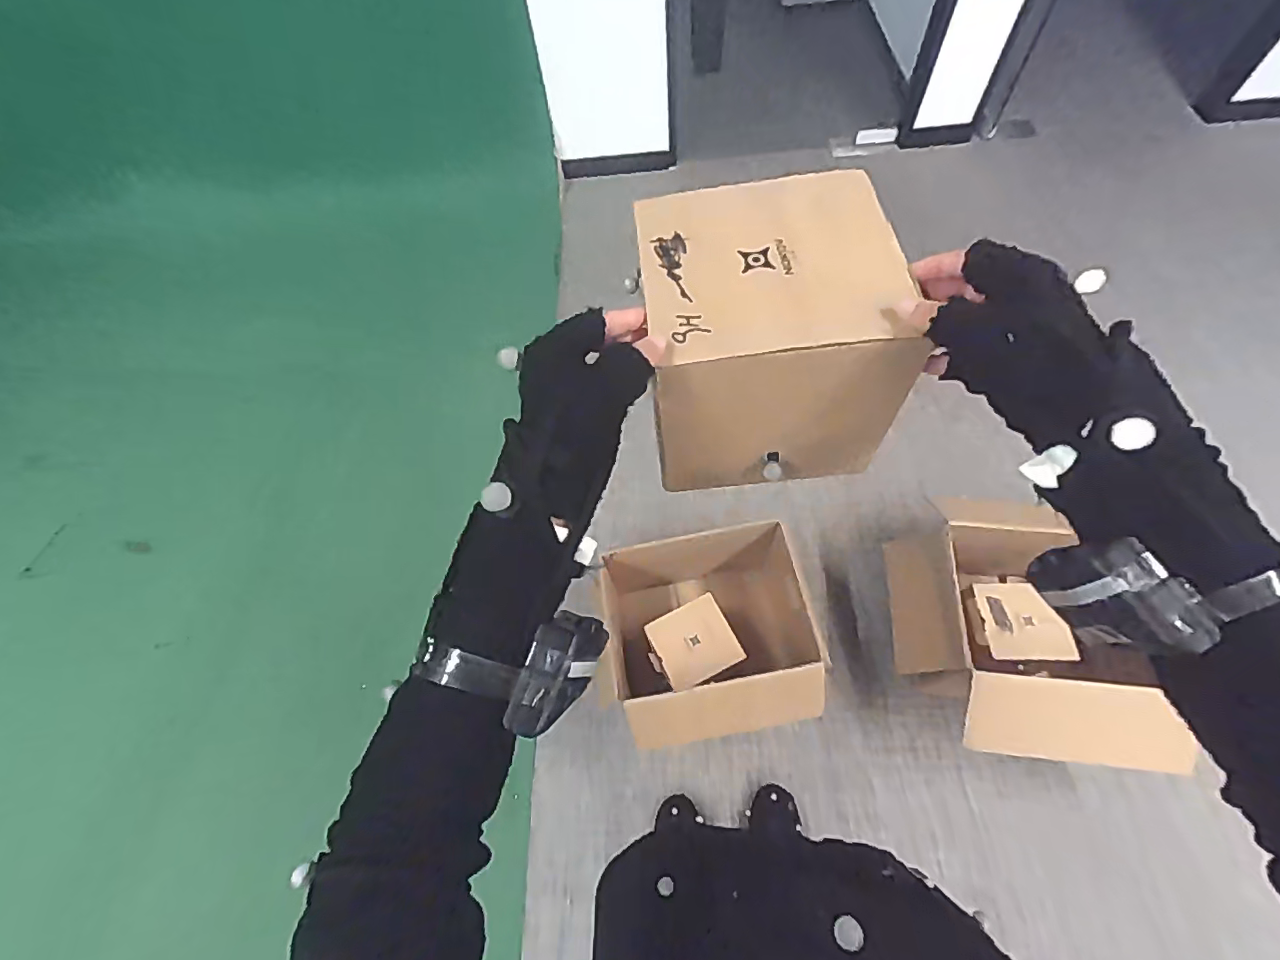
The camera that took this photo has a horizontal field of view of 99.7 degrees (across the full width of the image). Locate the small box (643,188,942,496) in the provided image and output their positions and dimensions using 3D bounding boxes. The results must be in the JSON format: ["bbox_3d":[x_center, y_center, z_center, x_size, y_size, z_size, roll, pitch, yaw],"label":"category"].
[{"bbox_3d":[0.098,-0.101,0.438,0.179,0.176,0.168,-6,60,1],"label":"small box"}]
